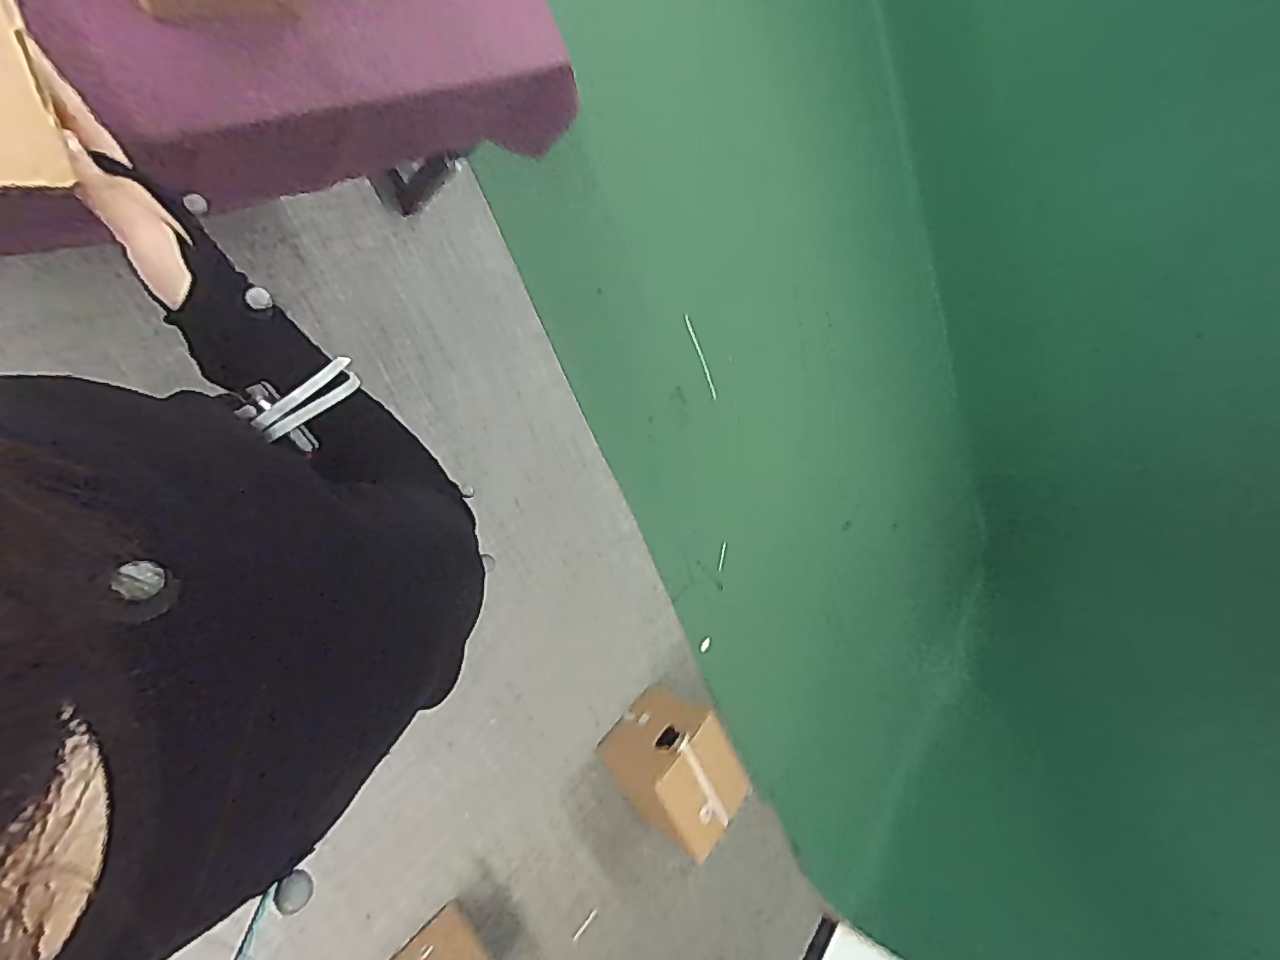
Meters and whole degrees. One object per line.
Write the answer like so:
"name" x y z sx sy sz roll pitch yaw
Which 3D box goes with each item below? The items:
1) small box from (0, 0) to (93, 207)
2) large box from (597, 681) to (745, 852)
"small box" -0.385 -0.211 0.227 0.179 0.176 0.168 -22 124 -40
"large box" 0.114 1.004 1.937 0.320 0.320 0.408 -40 116 -34
